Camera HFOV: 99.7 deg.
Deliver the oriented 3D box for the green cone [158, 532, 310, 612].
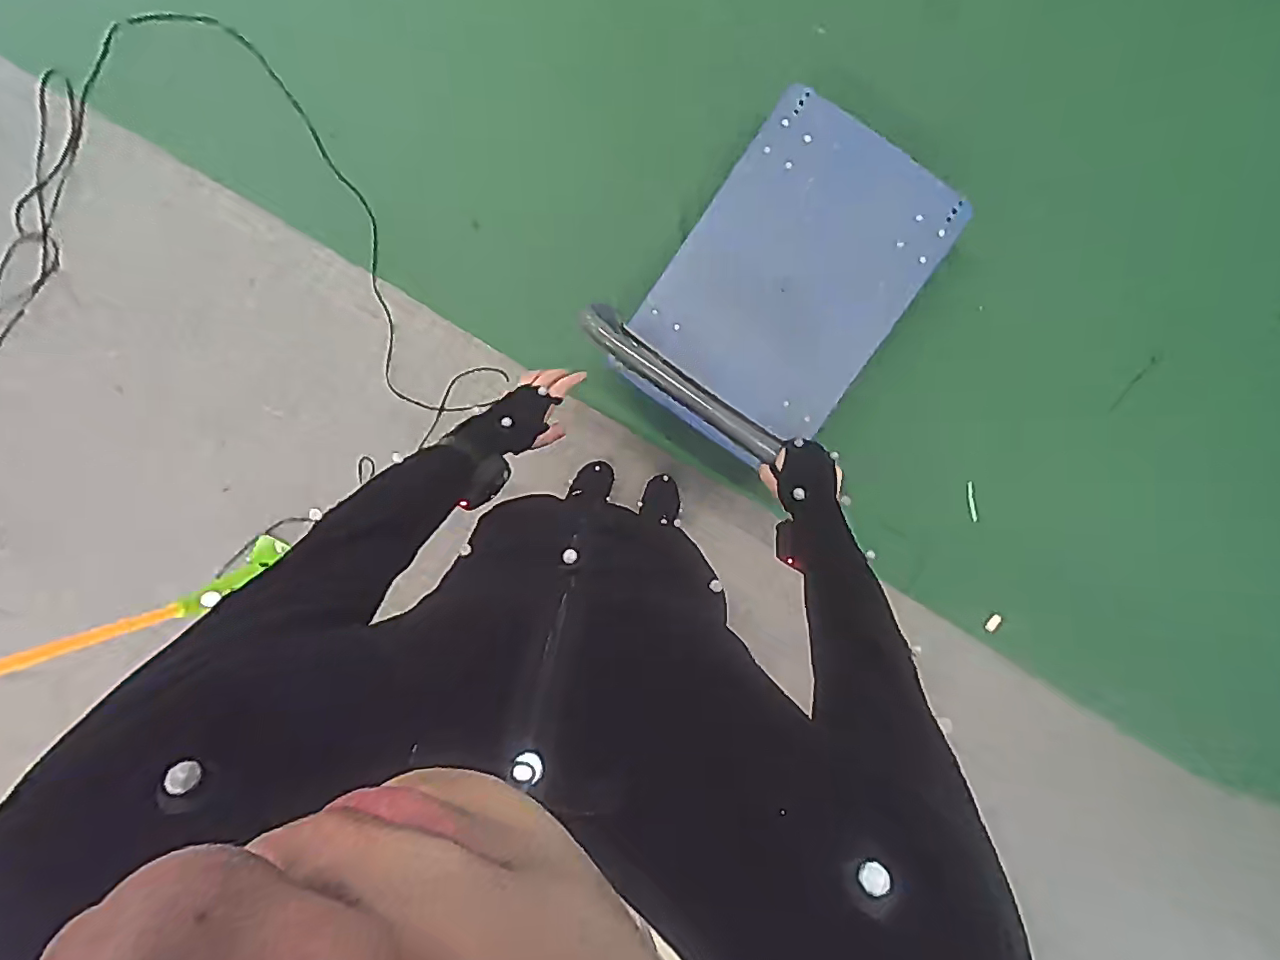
[{"bbox_3d":[-1.151,0.295,1.505,0.202,0.368,0.200,28,94,1],"label":"green cone"}]
